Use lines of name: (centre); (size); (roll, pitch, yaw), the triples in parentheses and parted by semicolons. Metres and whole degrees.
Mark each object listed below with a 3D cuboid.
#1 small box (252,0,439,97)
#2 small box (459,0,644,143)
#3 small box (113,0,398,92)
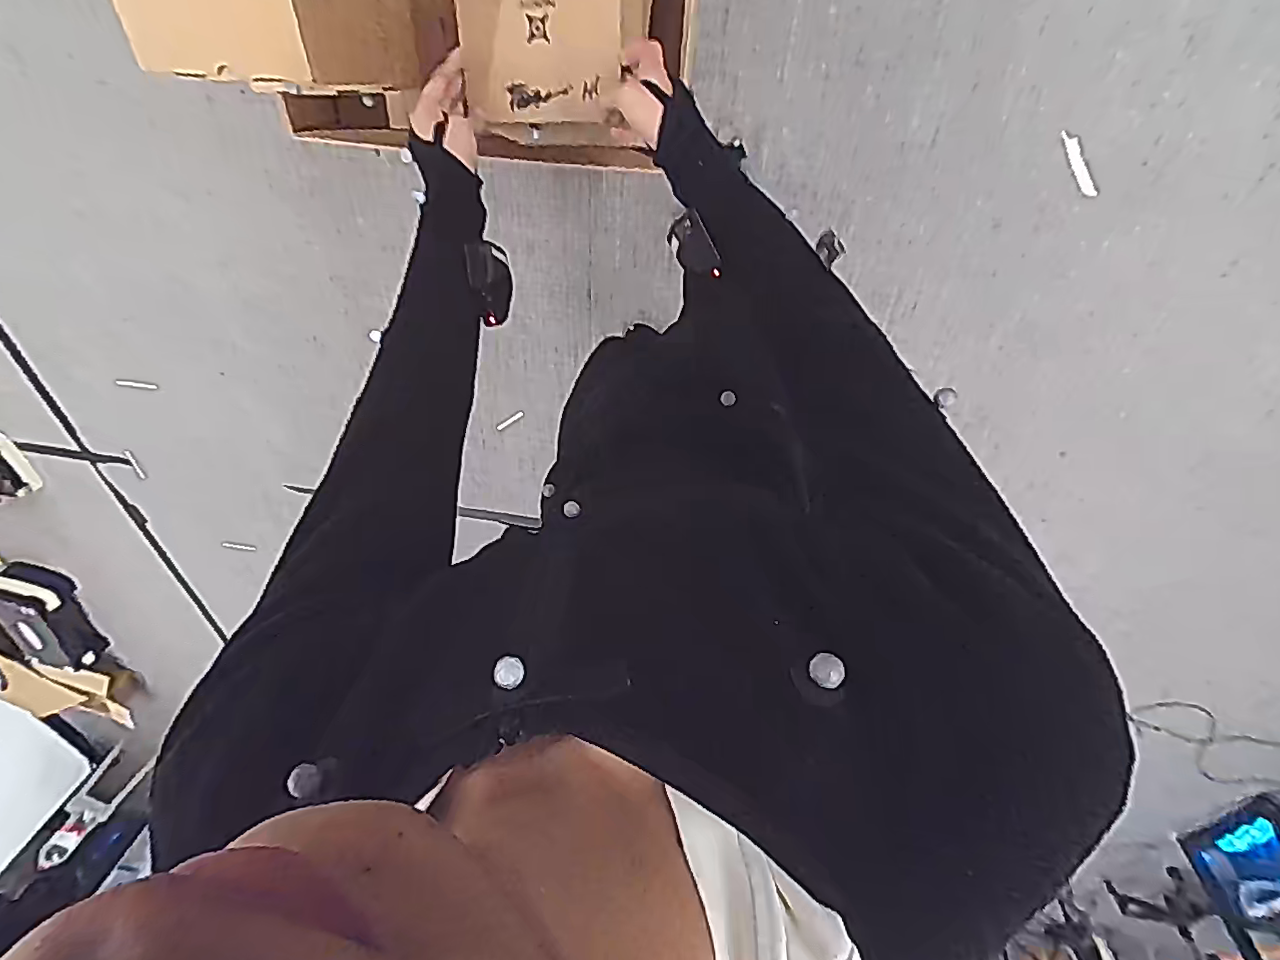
small box: (-0.362, -0.561, 0.635); (0.168, 0.176, 0.179); (3, 128, 5)
small box: (-0.087, -0.487, 0.597); (0.168, 0.176, 0.179); (3, 116, 6)
small box: (-0.352, -0.471, 0.497); (0.168, 0.176, 0.179); (5, 128, 3)
